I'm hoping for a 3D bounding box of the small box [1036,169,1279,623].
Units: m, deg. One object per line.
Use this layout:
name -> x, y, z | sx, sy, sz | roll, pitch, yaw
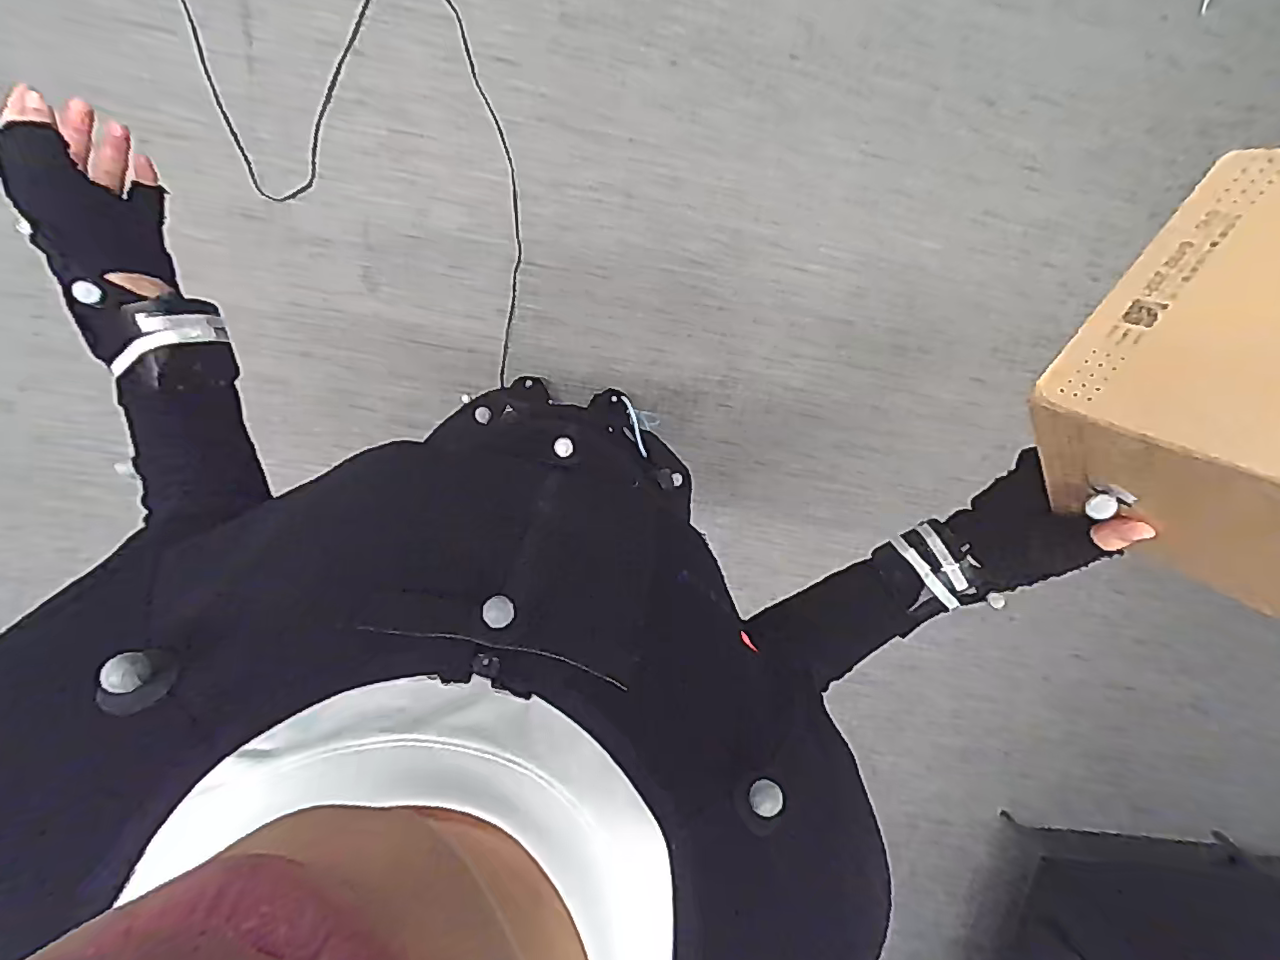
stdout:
small box -> 0.352, -0.037, 0.289 | 0.168, 0.176, 0.179 | -52, 134, 3
